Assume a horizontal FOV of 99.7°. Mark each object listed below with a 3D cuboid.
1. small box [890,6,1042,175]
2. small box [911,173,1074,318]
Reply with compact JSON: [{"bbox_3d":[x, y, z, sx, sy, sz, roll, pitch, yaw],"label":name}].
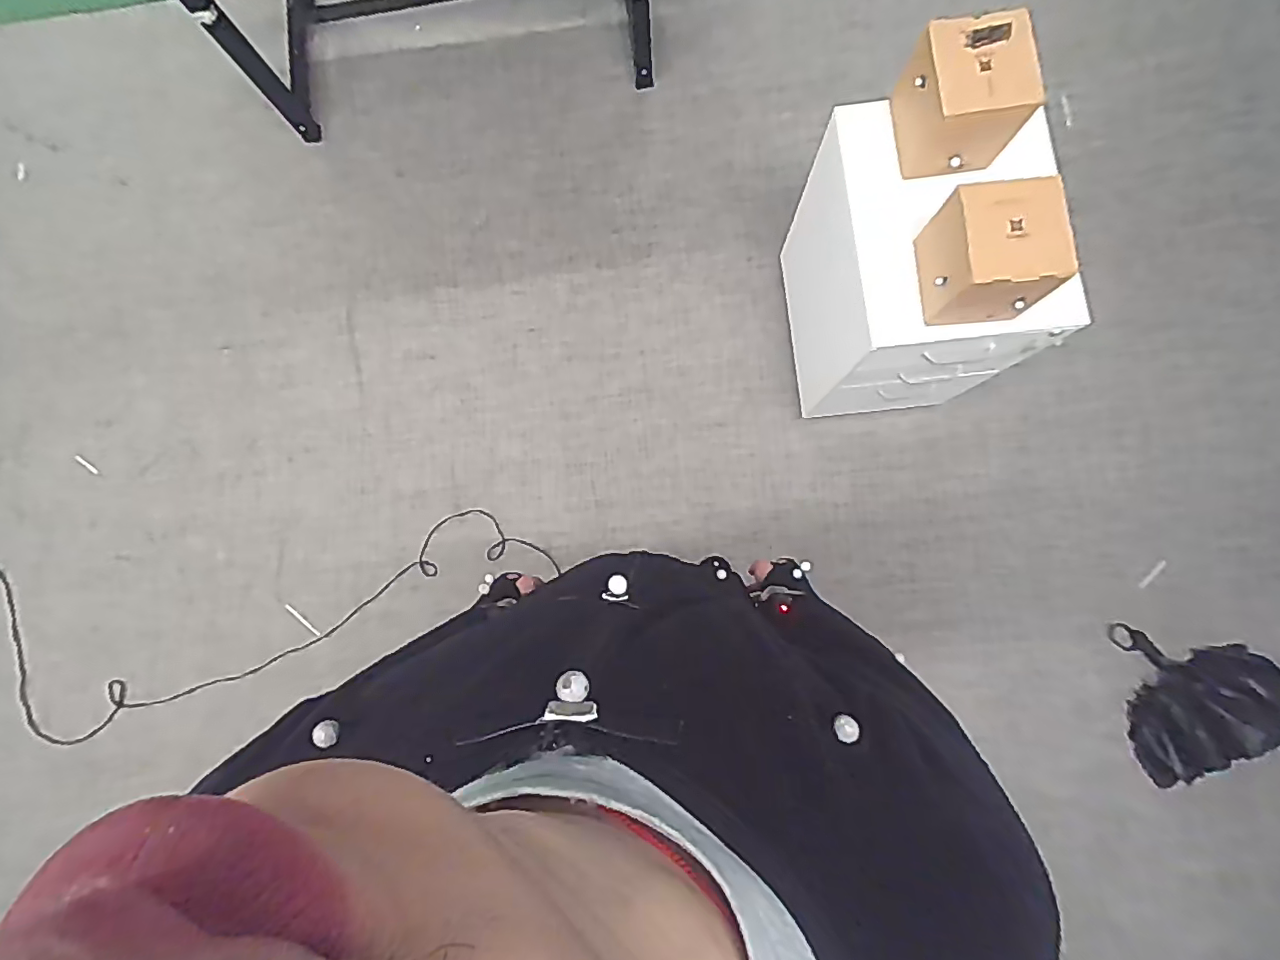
[{"bbox_3d":[0.573,-0.691,0.975,0.168,0.176,0.179,-6,85,2],"label":"small box"},{"bbox_3d":[0.600,-0.395,0.943,0.168,0.176,0.179,-4,81,1],"label":"small box"}]
